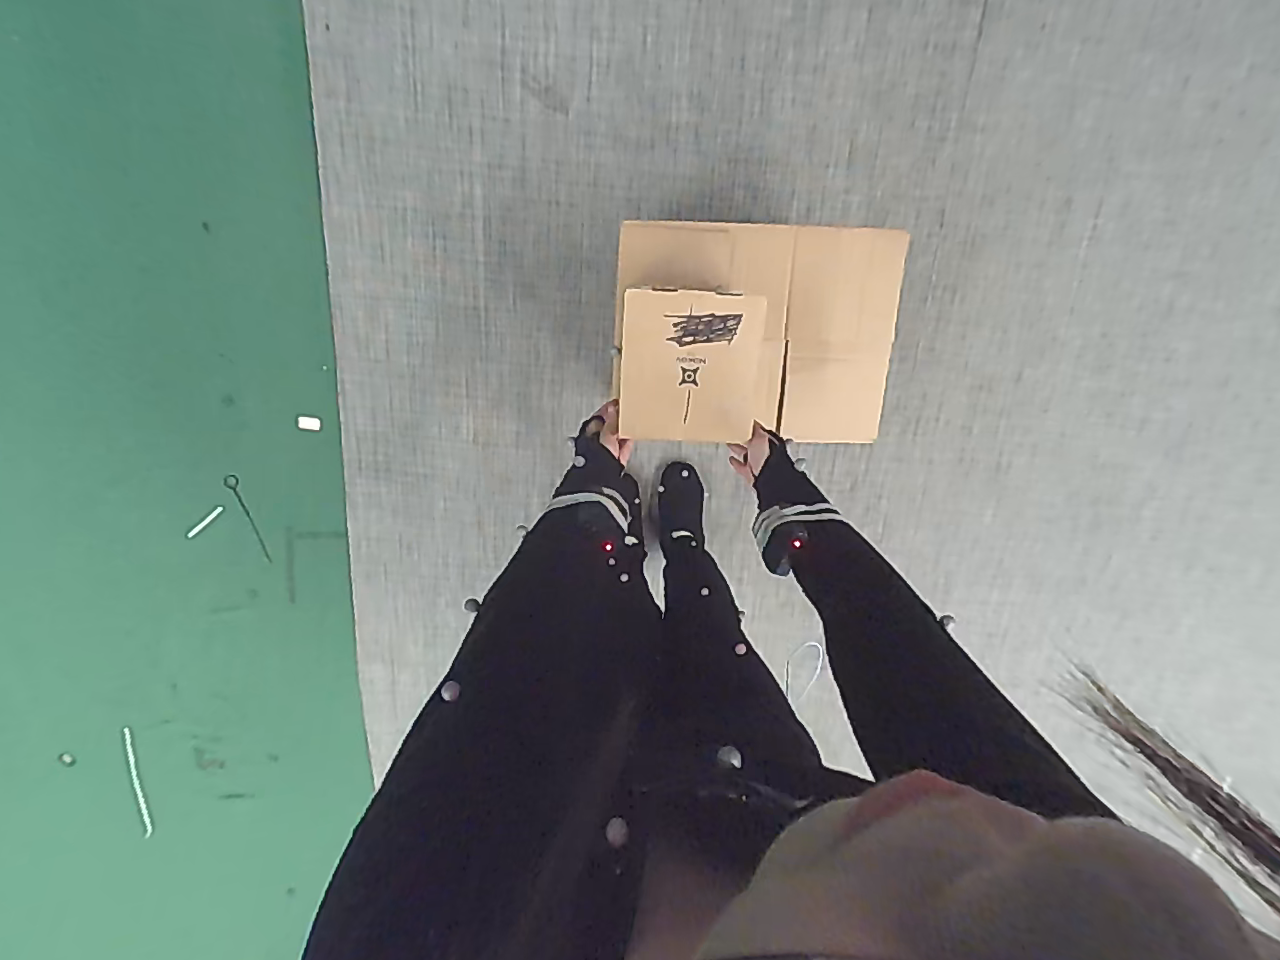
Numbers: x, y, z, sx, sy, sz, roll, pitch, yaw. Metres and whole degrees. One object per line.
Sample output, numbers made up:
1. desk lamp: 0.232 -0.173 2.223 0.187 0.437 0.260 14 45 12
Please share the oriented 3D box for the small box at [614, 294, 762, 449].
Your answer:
1. small box: 0.052 -0.149 0.723 0.168 0.176 0.179 3 108 -3
